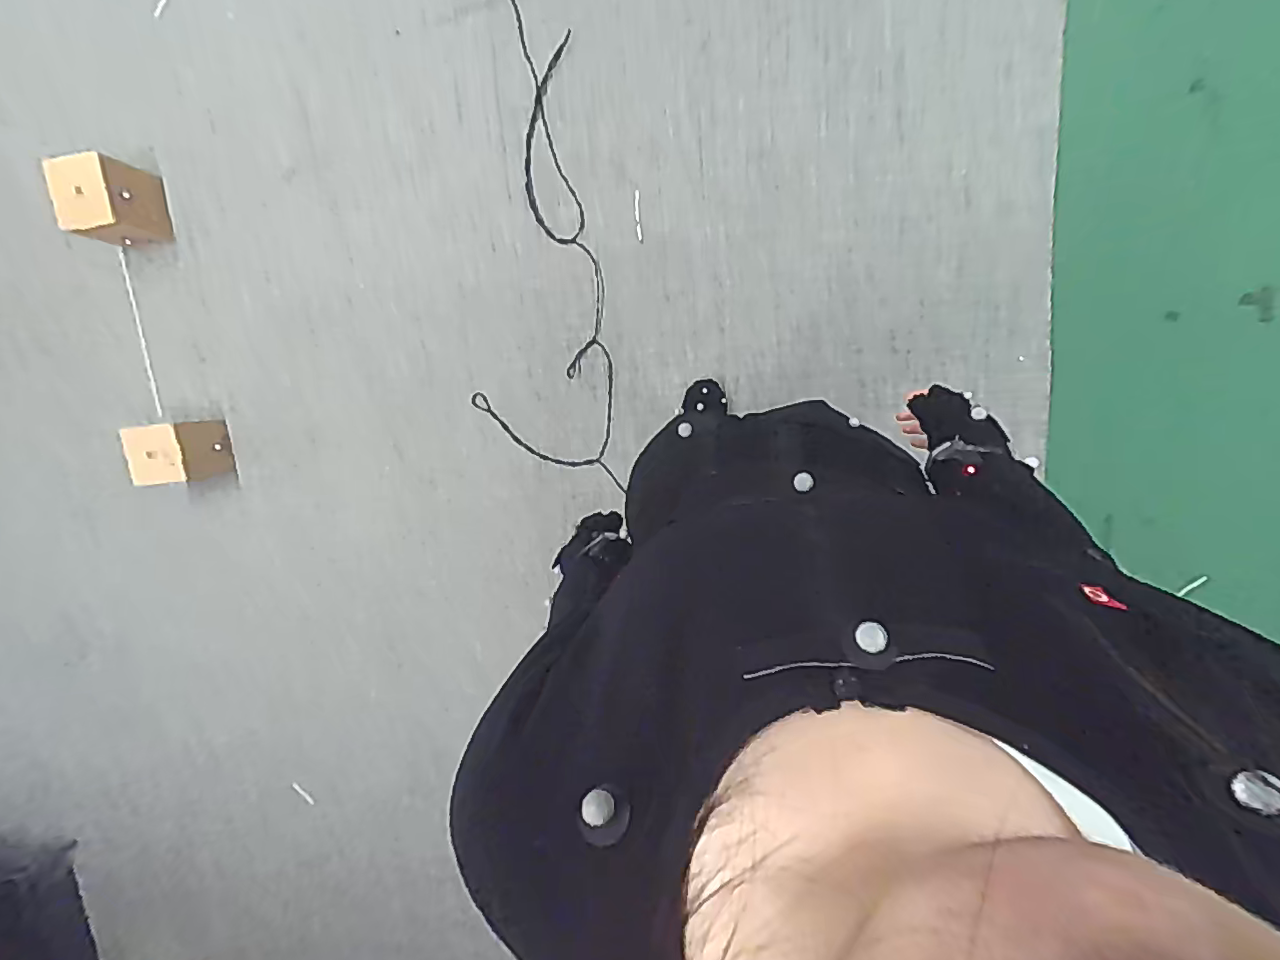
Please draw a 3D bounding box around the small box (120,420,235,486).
[{"bbox_3d":[-1.337,-0.080,1.573,0.179,0.176,0.168,-5,100,8],"label":"small box"}]

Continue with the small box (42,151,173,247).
[{"bbox_3d":[-1.427,-0.751,1.460,0.168,0.176,0.179,-5,100,7],"label":"small box"}]
